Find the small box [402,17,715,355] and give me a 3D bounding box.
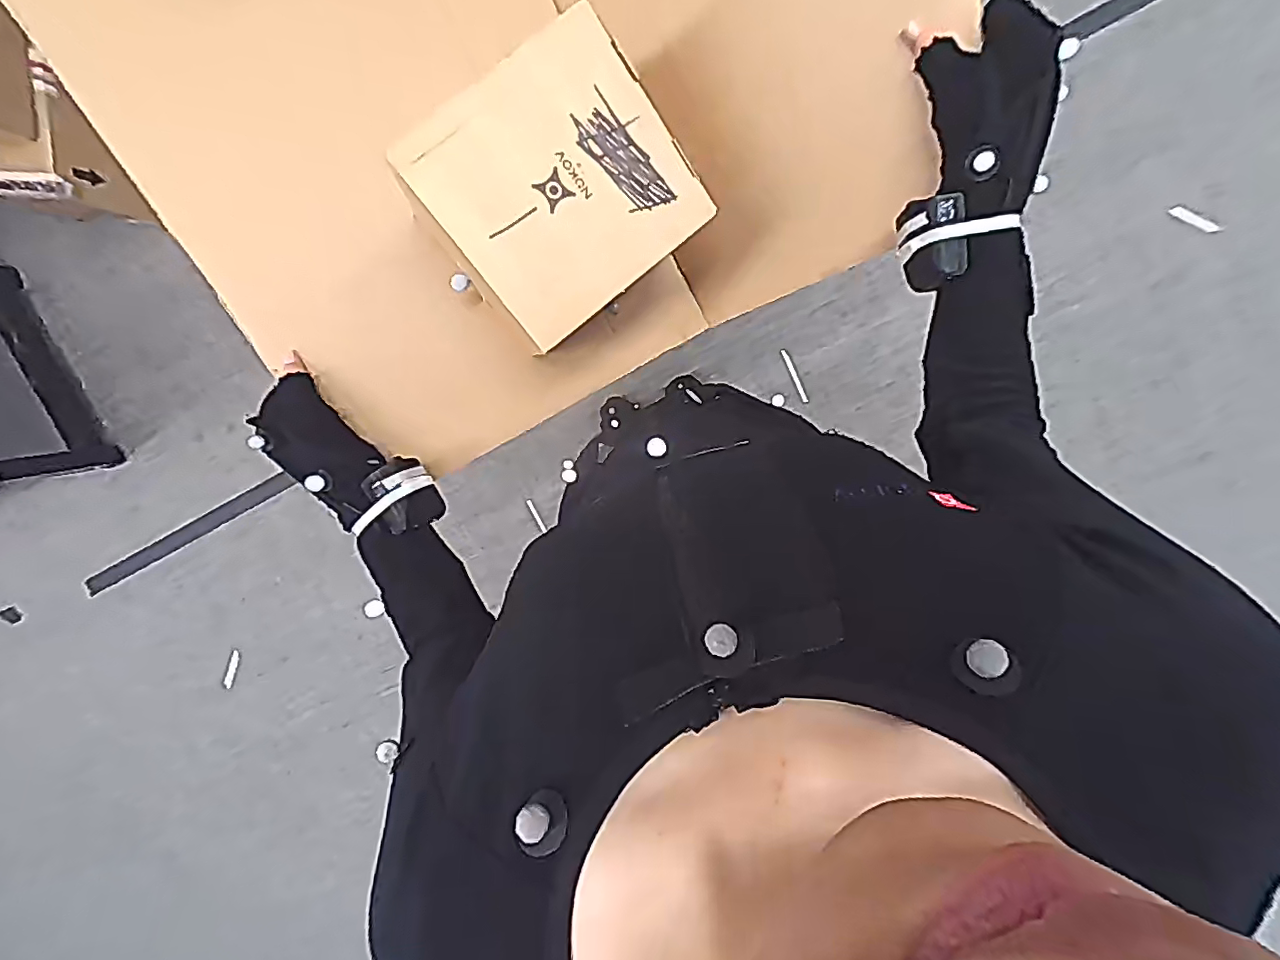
[{"bbox_3d":[-0.072,-0.227,0.471,0.179,0.176,0.168,-40,109,-4],"label":"small box"}]
